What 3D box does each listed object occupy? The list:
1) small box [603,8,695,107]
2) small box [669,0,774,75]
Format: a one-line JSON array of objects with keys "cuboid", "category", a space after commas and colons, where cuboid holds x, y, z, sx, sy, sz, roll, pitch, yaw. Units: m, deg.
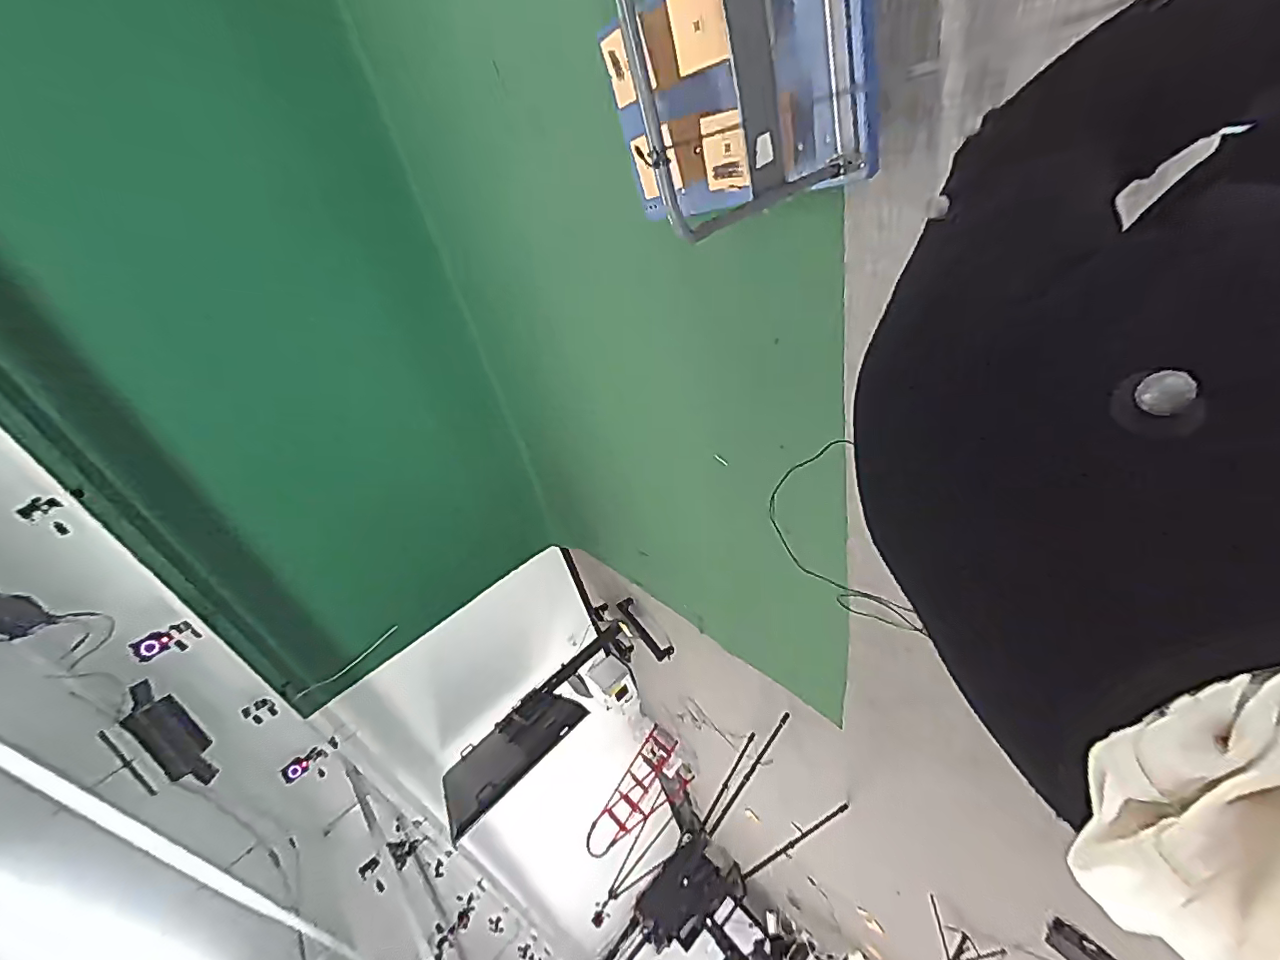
[{"cuboid": [0.030, -1.190, 1.526, 0.179, 0.176, 0.168, 16, 135, 50], "category": "small box"}, {"cuboid": [0.201, -1.127, 1.327, 0.179, 0.176, 0.168, 21, 138, 47], "category": "small box"}]
